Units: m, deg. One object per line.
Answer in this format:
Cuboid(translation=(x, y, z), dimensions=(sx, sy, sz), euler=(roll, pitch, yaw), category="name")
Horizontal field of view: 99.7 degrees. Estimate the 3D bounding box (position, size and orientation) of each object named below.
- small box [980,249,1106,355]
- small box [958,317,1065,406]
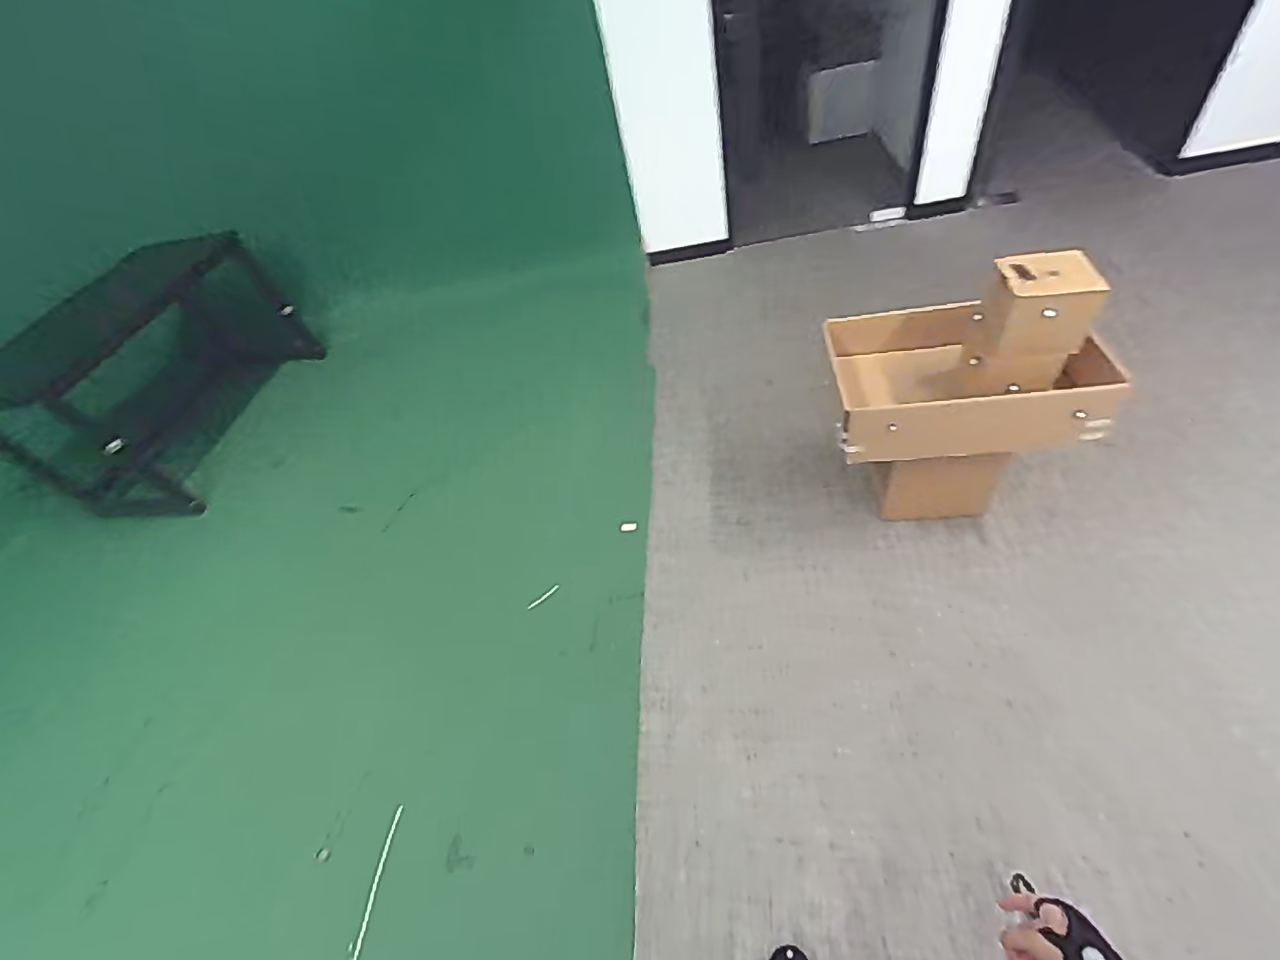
Cuboid(translation=(0.916, -0.407, 1.255), dimensions=(0.179, 0.176, 0.168), euler=(-2, 49, 13), category="small box")
Cuboid(translation=(0.935, -0.302, 1.380), dimensions=(0.168, 0.176, 0.179), euler=(-1, 49, 14), category="small box")
